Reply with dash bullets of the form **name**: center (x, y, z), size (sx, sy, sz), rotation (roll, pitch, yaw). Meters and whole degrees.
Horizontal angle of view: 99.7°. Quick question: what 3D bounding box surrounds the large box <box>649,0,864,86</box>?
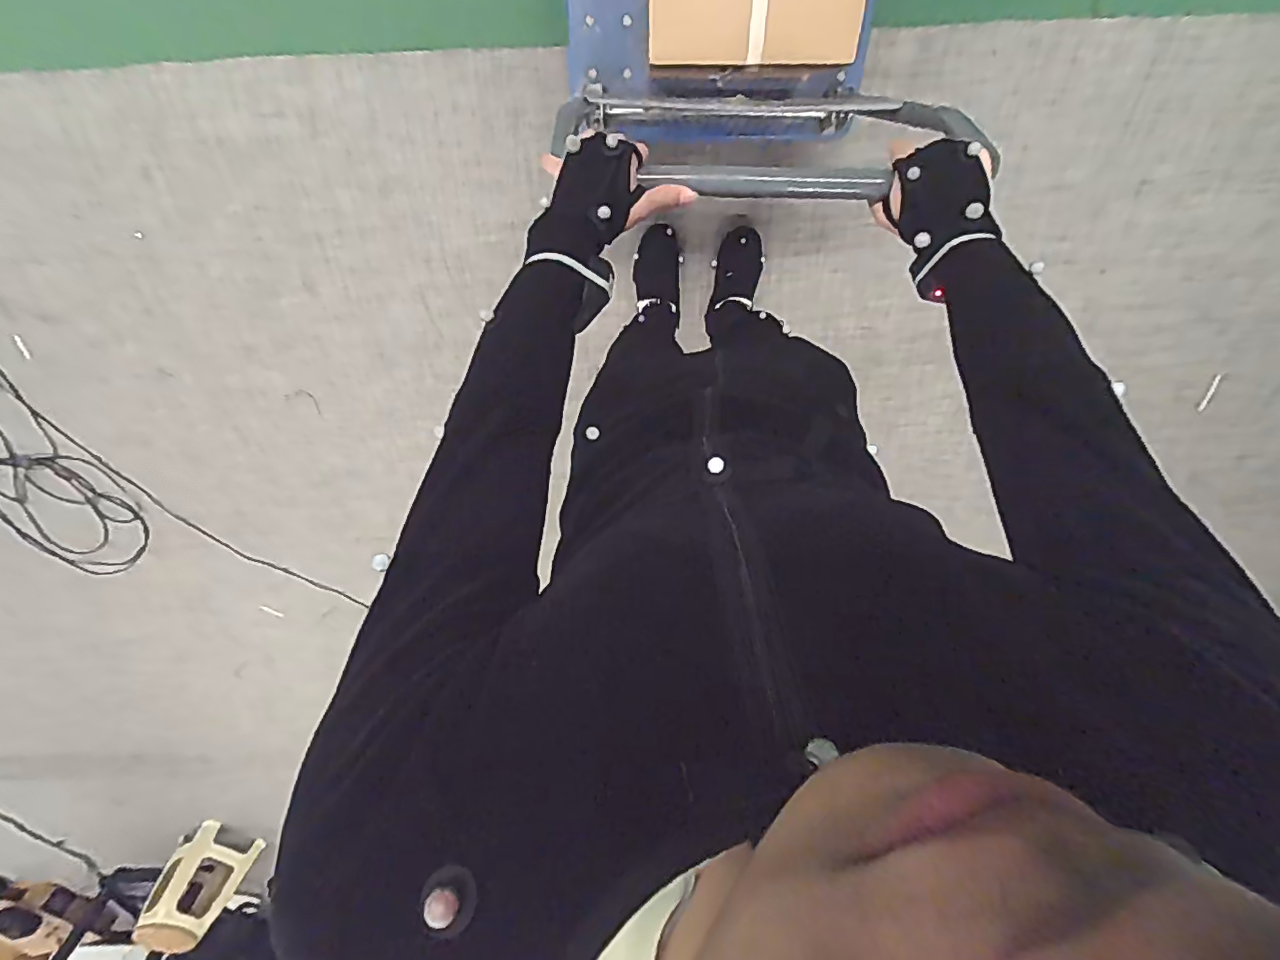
- **large box**: center (0.170, -0.872, 0.840), size (0.320, 0.320, 0.408), rotation (0, 123, 0)
